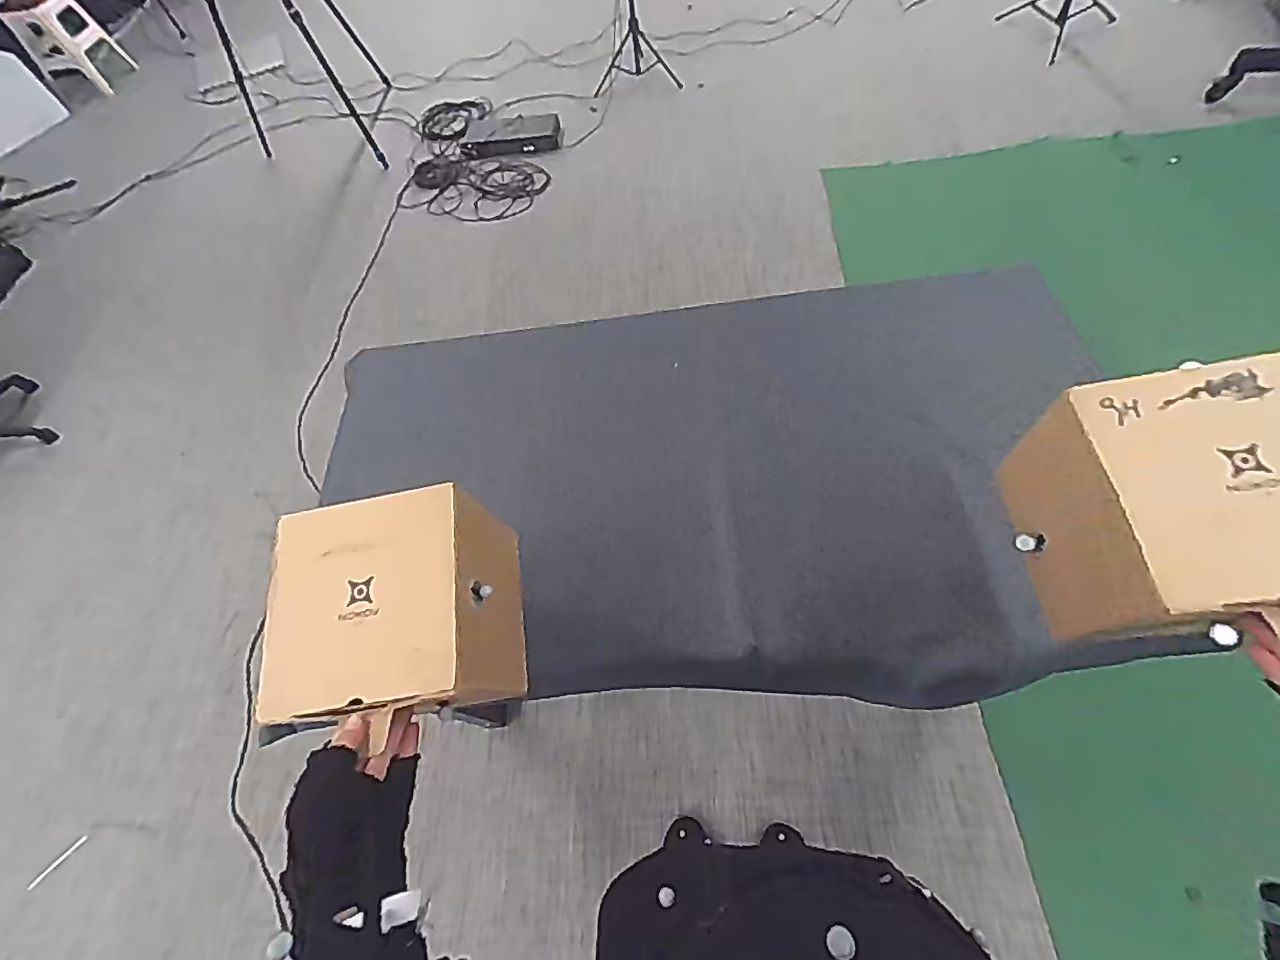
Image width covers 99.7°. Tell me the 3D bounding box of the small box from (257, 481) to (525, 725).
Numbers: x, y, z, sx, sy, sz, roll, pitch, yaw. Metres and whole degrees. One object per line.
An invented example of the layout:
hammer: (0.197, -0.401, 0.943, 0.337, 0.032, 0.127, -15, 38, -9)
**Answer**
small box: (-0.216, 0.123, 0.514, 0.168, 0.176, 0.179, -11, 66, 4)

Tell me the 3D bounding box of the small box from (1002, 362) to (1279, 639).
small box: (0.433, 0.031, 0.437, 0.168, 0.176, 0.179, -8, 67, 11)
